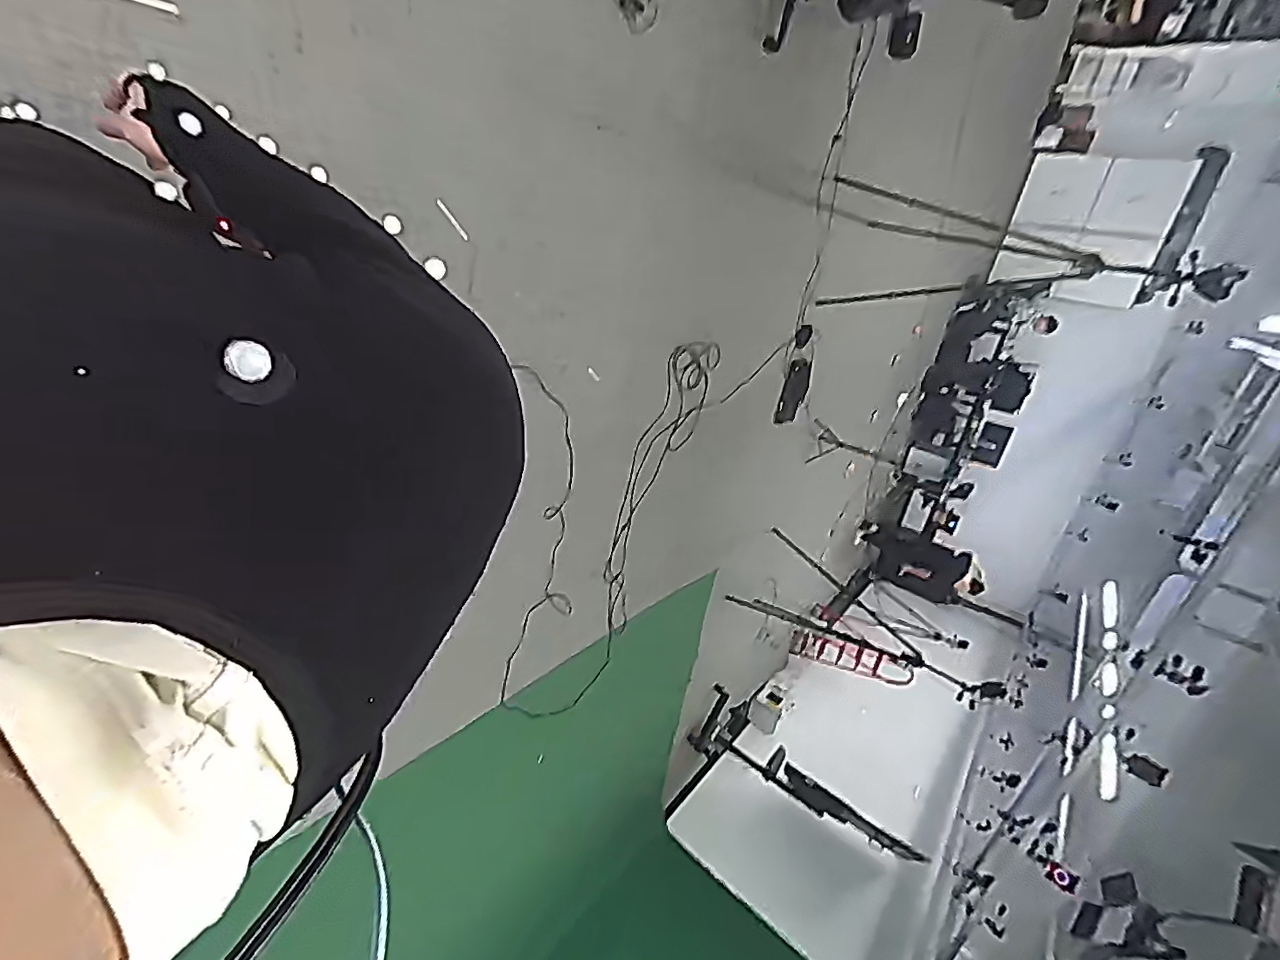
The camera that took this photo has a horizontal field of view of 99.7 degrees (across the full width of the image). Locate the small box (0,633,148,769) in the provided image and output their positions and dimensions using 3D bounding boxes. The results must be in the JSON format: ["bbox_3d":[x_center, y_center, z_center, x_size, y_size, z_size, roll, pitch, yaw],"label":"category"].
[{"bbox_3d":[-1.190,0.450,1.137,0.168,0.176,0.179,-26,131,-43],"label":"small box"}]
